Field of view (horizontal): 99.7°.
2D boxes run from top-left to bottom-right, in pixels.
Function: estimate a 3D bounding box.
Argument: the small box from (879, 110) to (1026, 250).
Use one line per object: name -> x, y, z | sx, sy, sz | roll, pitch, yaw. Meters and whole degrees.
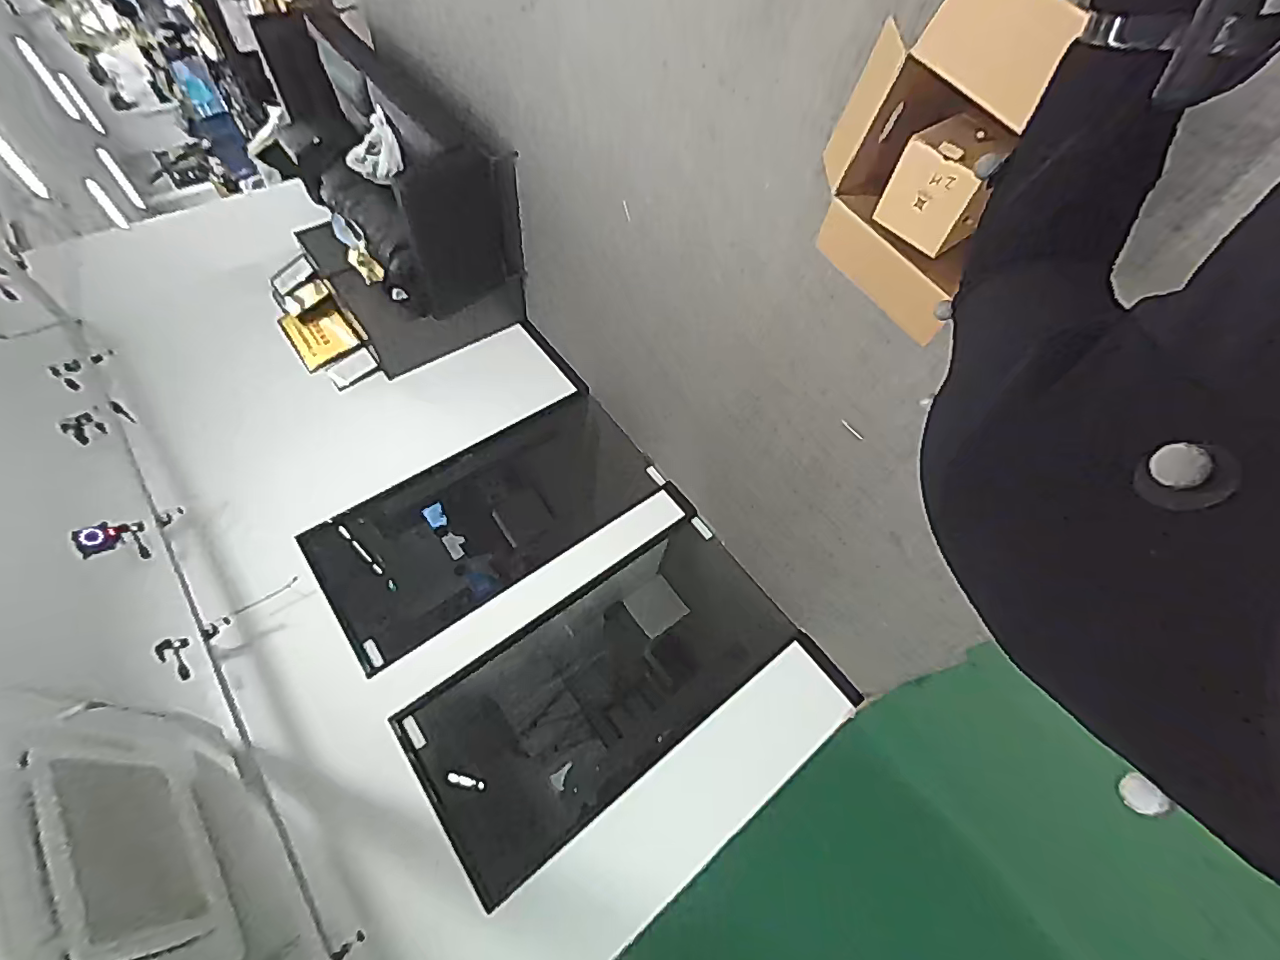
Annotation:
small box -> 0.643, -0.620, 1.118 | 0.168, 0.176, 0.179 | 47, 156, 21
